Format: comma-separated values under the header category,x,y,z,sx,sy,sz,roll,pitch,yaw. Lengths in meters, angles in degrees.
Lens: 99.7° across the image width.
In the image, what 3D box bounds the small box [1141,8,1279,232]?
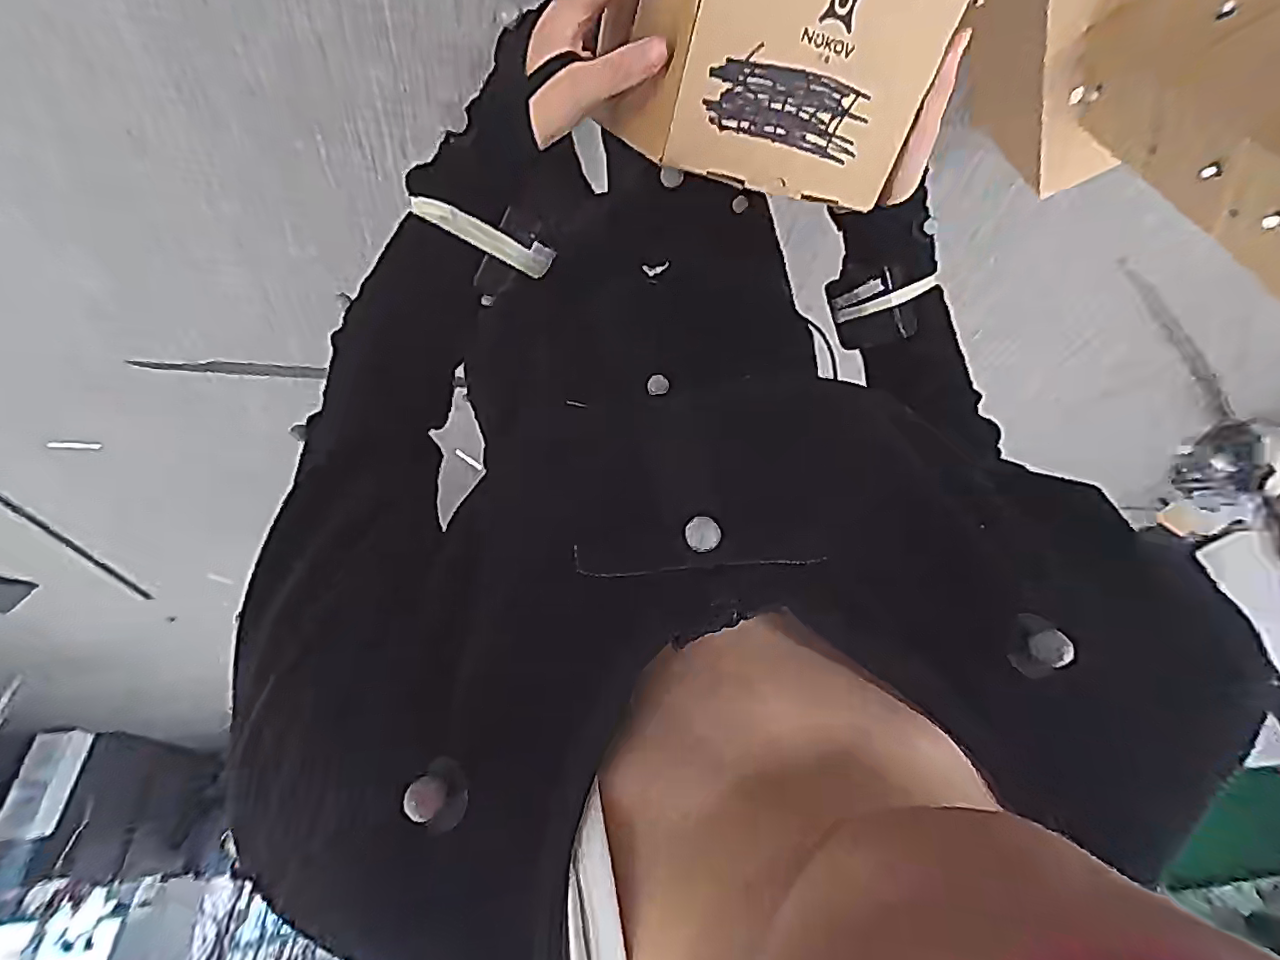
category,x,y,z,sx,sy,sz,roll,pitch,yaw
small box,0.811,-0.472,0.695,0.179,0.176,0.168,-23,143,23

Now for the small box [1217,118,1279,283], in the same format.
category,x,y,z,sx,sy,sz,roll,pitch,yaw
small box,0.825,-0.335,0.609,0.179,0.176,0.168,-23,143,23

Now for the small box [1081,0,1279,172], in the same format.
category,x,y,z,sx,sy,sz,roll,pitch,yaw
small box,0.794,-0.607,0.787,0.179,0.176,0.168,-22,143,24
